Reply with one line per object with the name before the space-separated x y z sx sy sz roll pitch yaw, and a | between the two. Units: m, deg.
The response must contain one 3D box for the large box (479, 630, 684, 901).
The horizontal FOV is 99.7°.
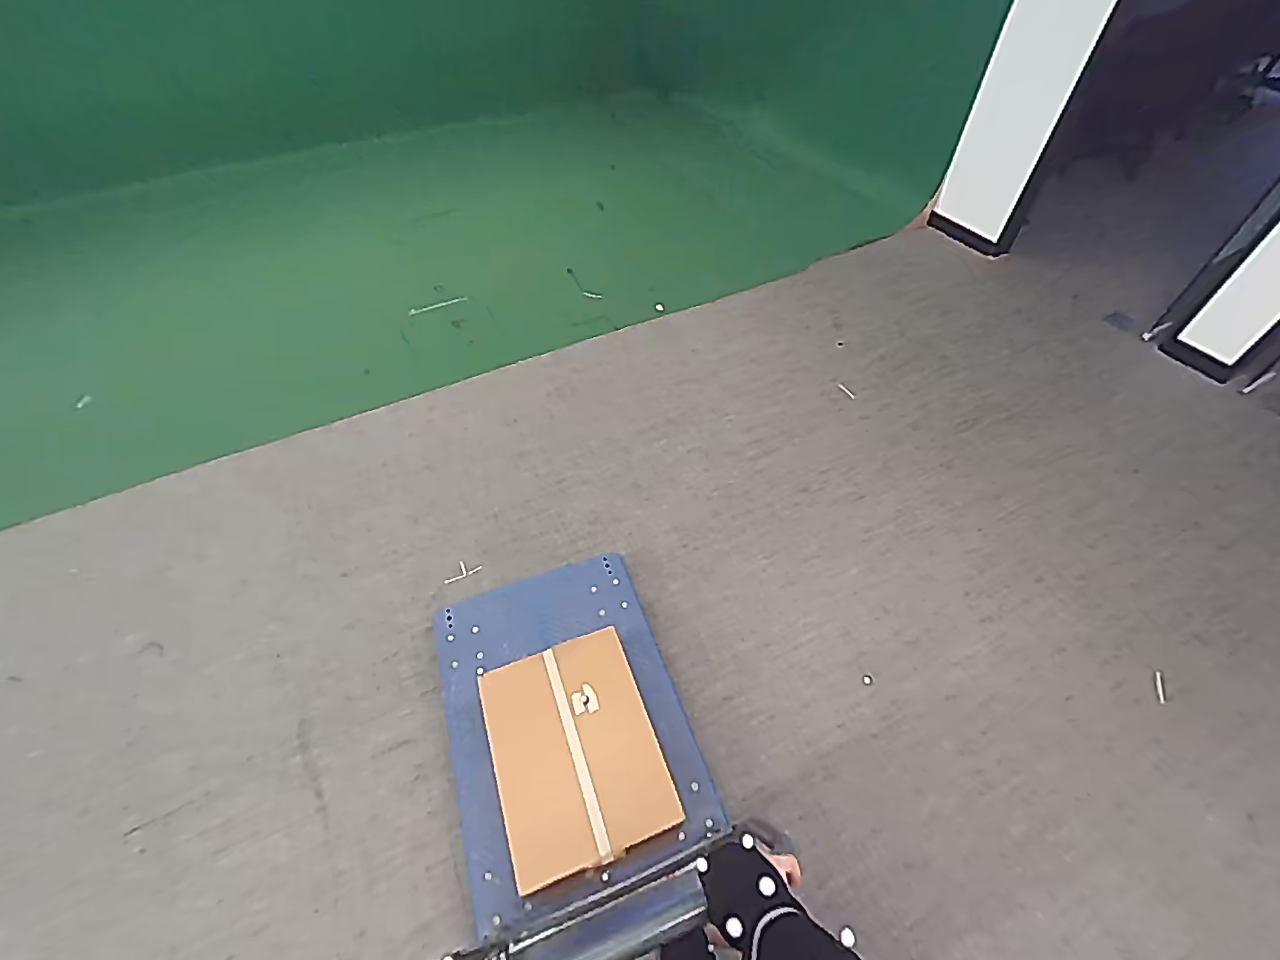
large box | -0.126 0.616 1.181 0.320 0.320 0.408 -17 52 -13
